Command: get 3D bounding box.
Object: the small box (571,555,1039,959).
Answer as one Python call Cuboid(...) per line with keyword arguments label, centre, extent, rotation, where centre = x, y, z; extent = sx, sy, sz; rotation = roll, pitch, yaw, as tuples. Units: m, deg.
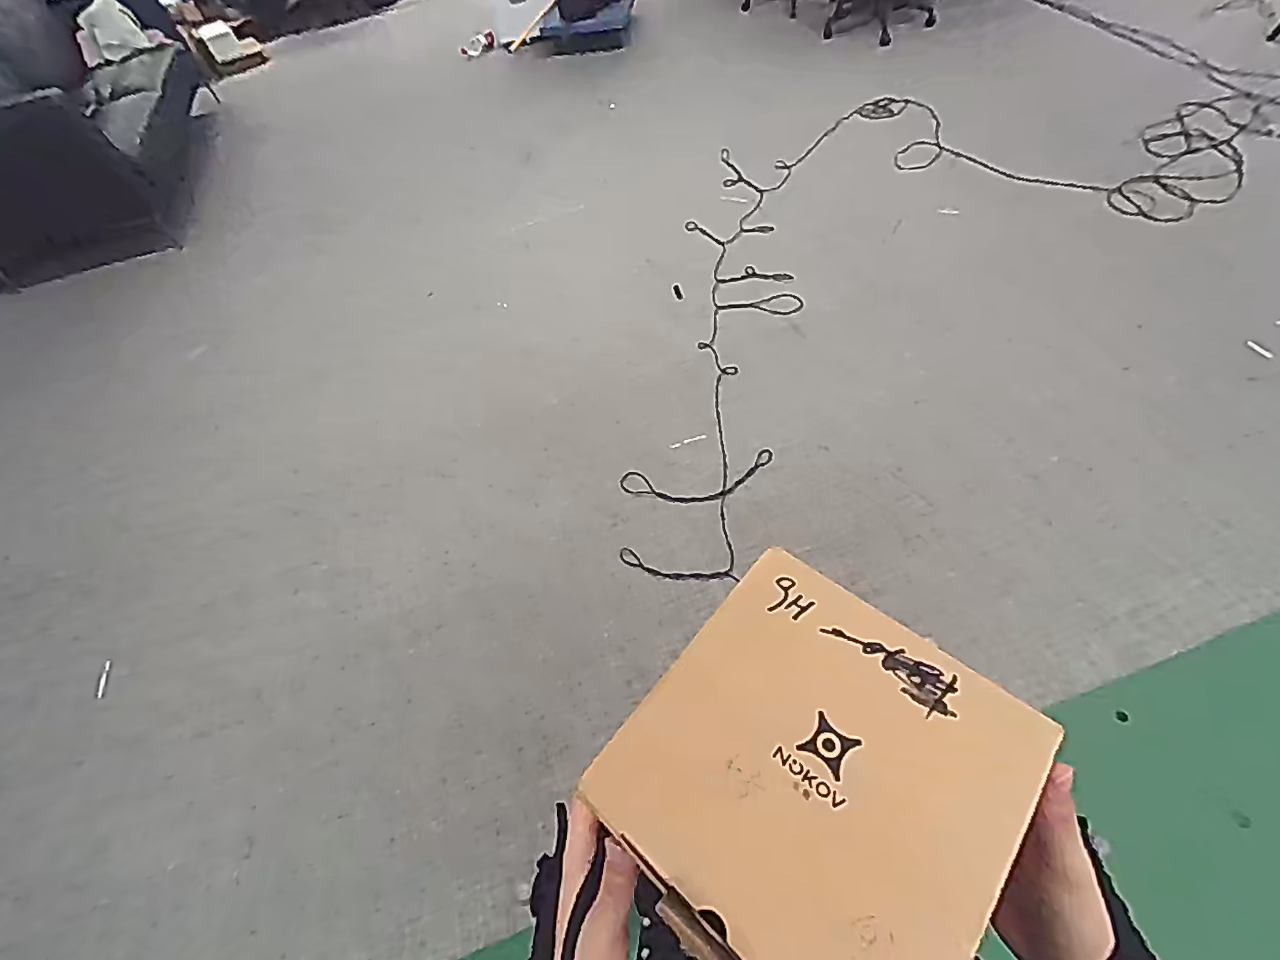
Cuboid(label="small box", centre=(0.089, 0.187, 0.331), extent=(0.168, 0.176, 0.179), rotation=(33, 64, 26))
